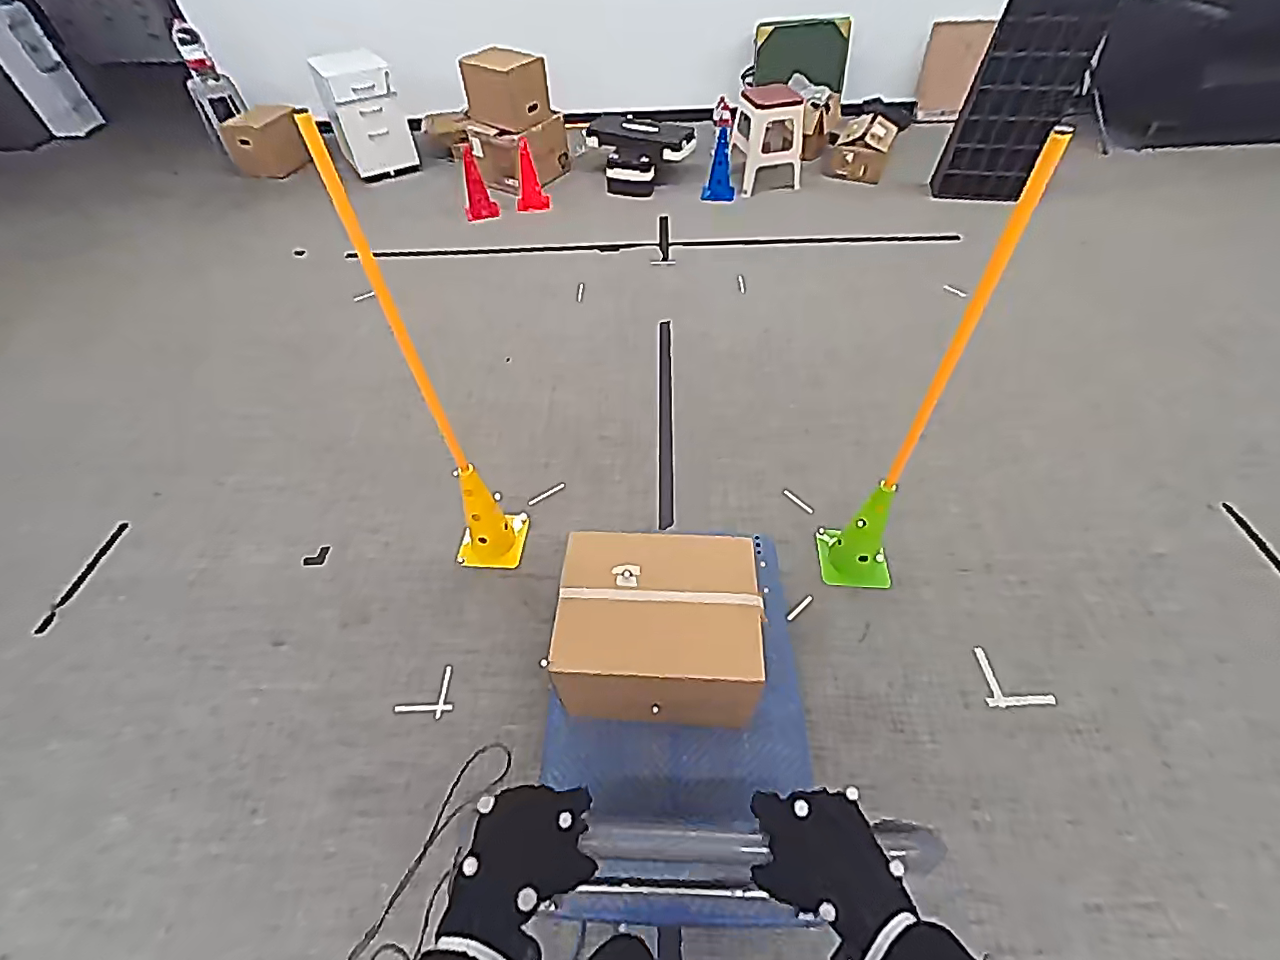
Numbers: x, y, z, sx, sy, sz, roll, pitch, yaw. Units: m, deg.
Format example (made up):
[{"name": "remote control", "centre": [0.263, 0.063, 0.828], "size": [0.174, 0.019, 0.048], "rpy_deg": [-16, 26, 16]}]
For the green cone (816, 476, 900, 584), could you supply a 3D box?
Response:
[{"name": "green cone", "centre": [0.654, 0.122, 1.545], "size": [0.202, 0.368, 0.200], "rpy_deg": [3, 51, 3]}]

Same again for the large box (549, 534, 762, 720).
[{"name": "large box", "centre": [0.042, 0.332, 1.208], "size": [0.408, 0.320, 0.320], "rpy_deg": [1, 51, 4]}]
